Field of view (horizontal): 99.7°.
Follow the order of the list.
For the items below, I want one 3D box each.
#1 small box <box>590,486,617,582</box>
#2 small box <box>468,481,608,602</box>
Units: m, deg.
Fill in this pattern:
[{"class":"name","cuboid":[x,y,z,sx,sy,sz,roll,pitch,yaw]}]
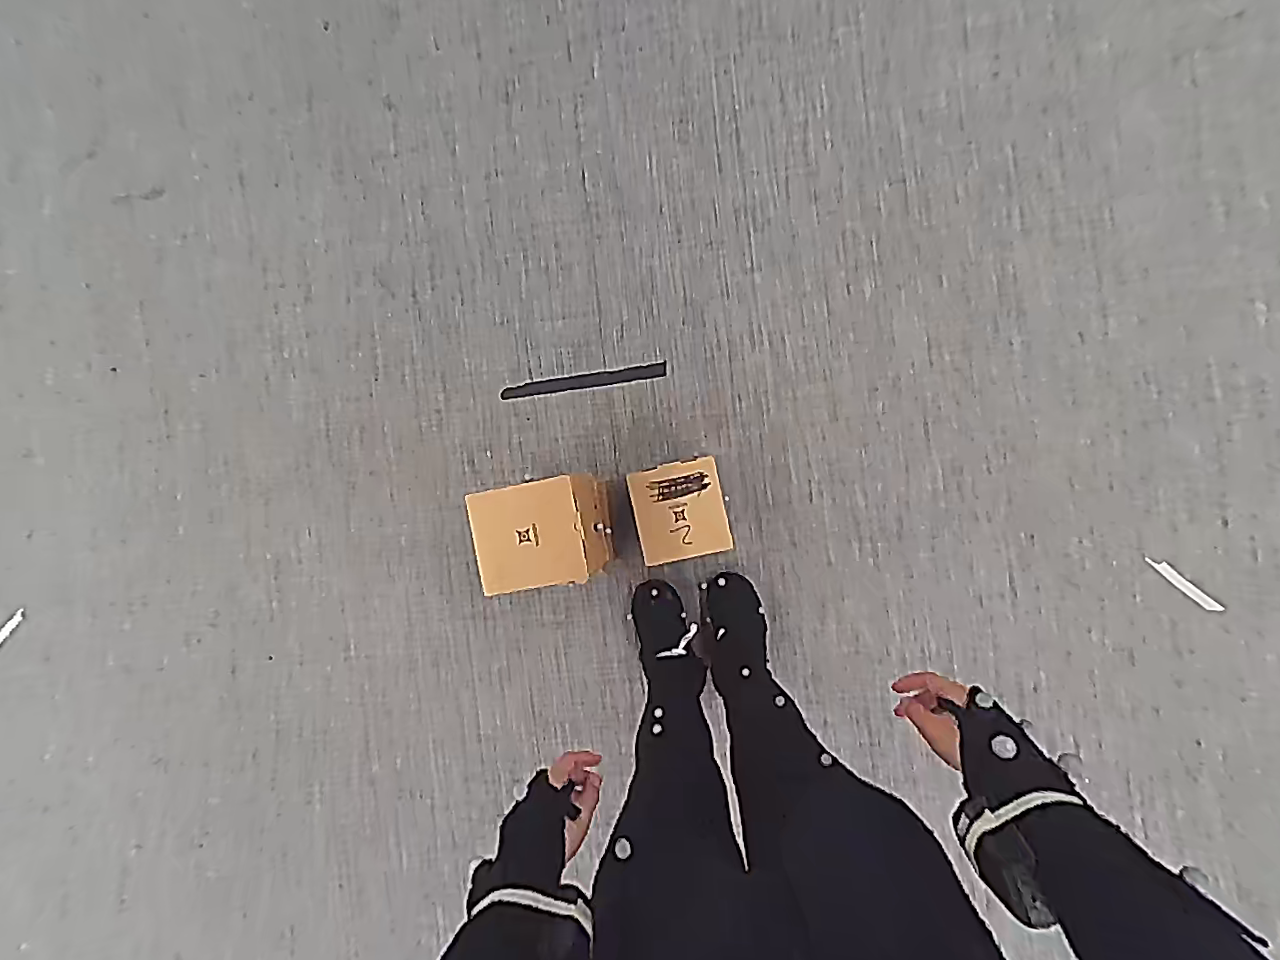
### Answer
[{"class":"small box","cuboid":[-0.143,0.105,1.081,0.168,0.176,0.179,-4,89,6]},{"class":"small box","cuboid":[-0.165,0.098,0.920,0.179,0.176,0.168,-12,89,5]}]
